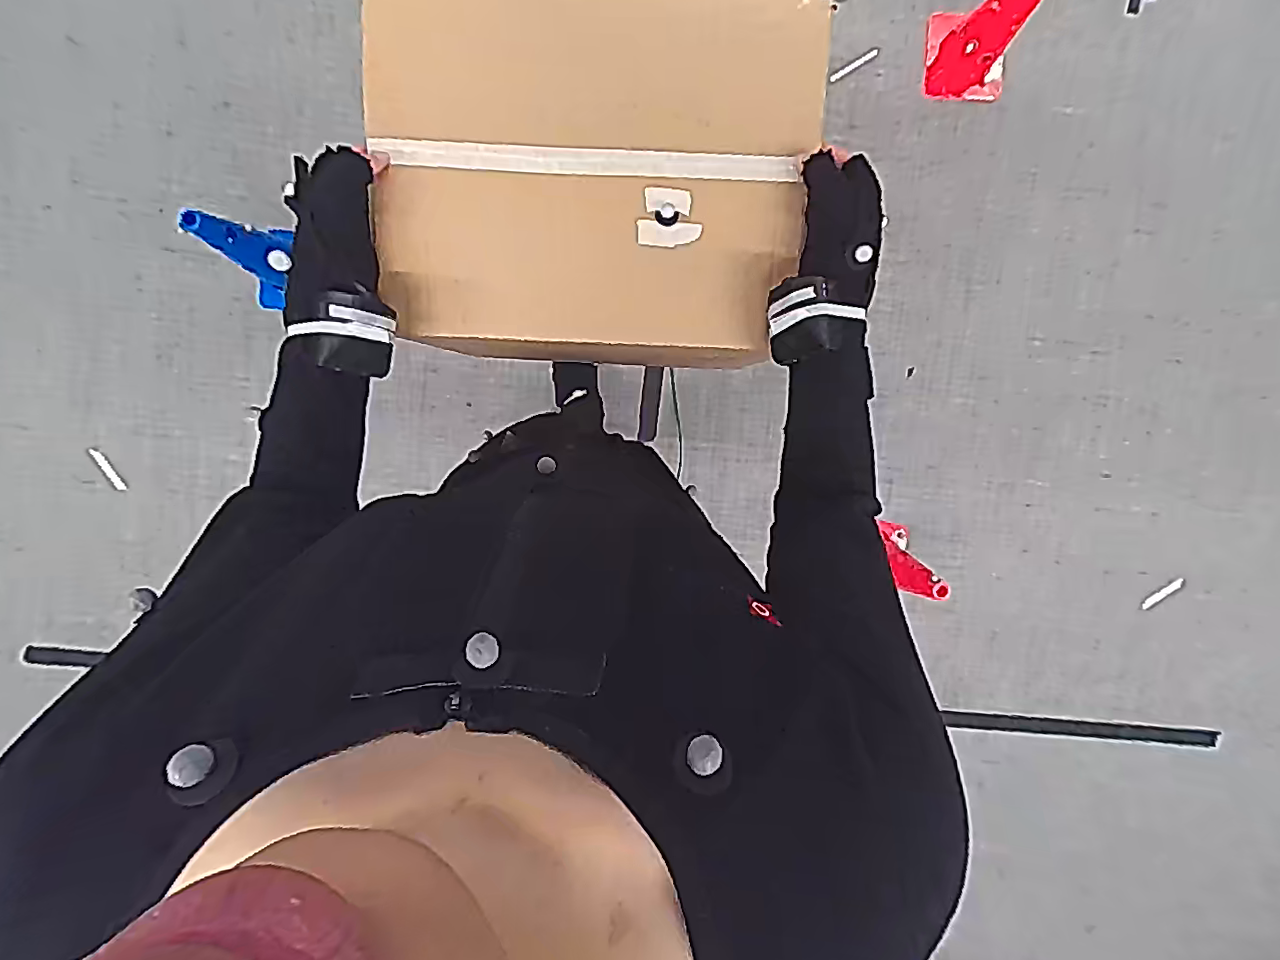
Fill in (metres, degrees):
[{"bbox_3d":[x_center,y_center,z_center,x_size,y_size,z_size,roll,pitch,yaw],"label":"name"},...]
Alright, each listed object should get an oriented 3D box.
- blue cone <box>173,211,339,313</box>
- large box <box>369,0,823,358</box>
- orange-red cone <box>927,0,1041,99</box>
[{"bbox_3d":[-0.871,-0.516,1.223,0.192,0.380,0.193,9,95,-1],"label":"blue cone"},{"bbox_3d":[-0.045,-0.317,0.636,0.408,0.320,0.320,2,99,-2],"label":"large box"},{"bbox_3d":[0.833,-1.063,1.195,0.198,0.360,0.199,3,94,-3],"label":"orange-red cone"}]
